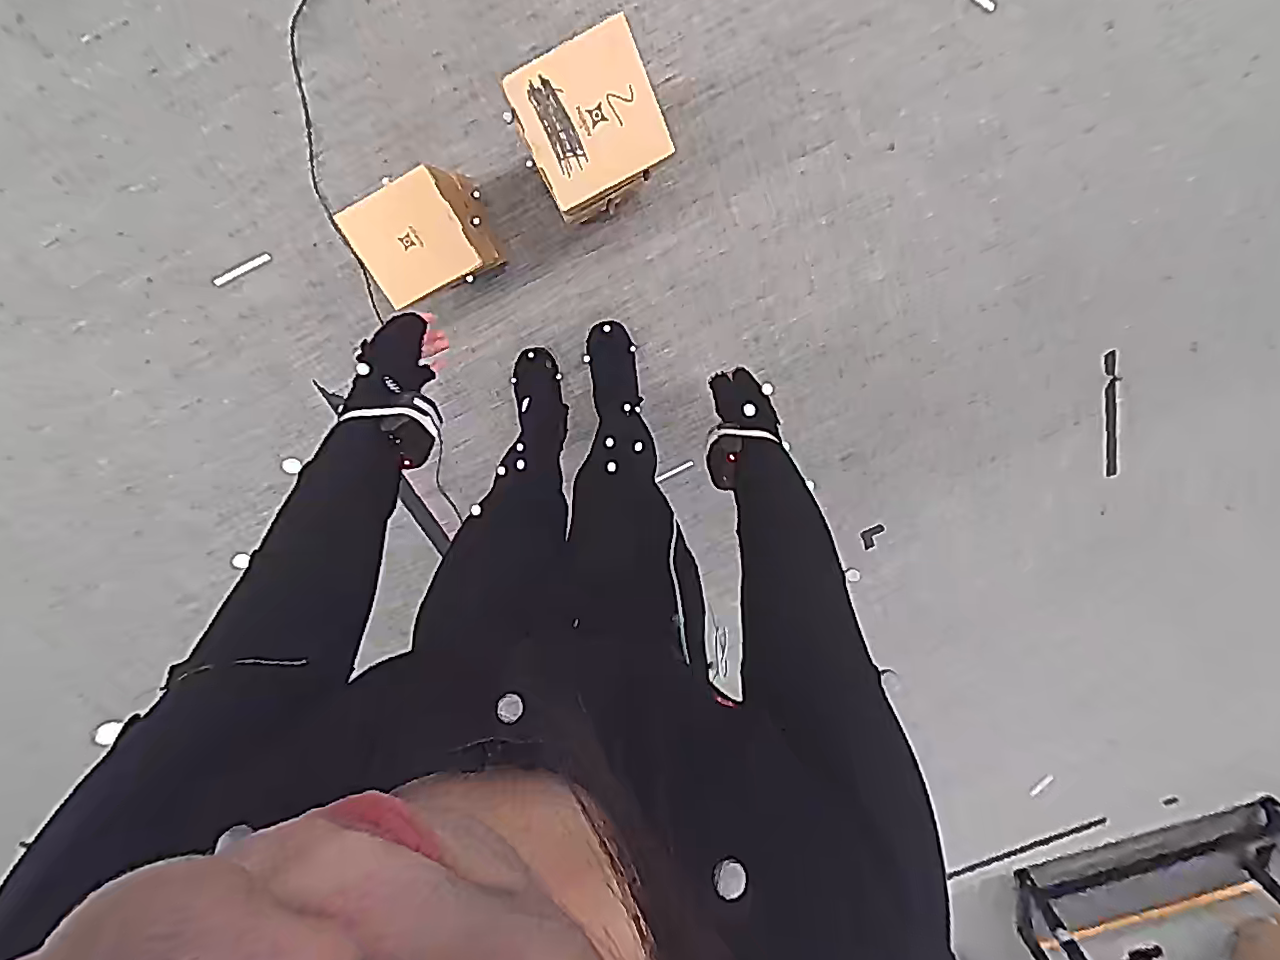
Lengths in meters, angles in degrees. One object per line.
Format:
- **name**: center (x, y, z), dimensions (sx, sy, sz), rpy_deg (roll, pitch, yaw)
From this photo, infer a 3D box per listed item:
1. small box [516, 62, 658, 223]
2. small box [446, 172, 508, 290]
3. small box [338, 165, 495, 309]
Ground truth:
- **small box**: center (-0.090, -0.561, 0.923), dimensions (0.179, 0.176, 0.168), rpy_deg (-27, 114, 6)
- **small box**: center (-0.389, -0.499, 1.105), dimensions (0.168, 0.176, 0.179), rpy_deg (-22, 116, 5)
- **small box**: center (-0.381, -0.426, 0.960), dimensions (0.179, 0.176, 0.168), rpy_deg (-26, 115, 7)
